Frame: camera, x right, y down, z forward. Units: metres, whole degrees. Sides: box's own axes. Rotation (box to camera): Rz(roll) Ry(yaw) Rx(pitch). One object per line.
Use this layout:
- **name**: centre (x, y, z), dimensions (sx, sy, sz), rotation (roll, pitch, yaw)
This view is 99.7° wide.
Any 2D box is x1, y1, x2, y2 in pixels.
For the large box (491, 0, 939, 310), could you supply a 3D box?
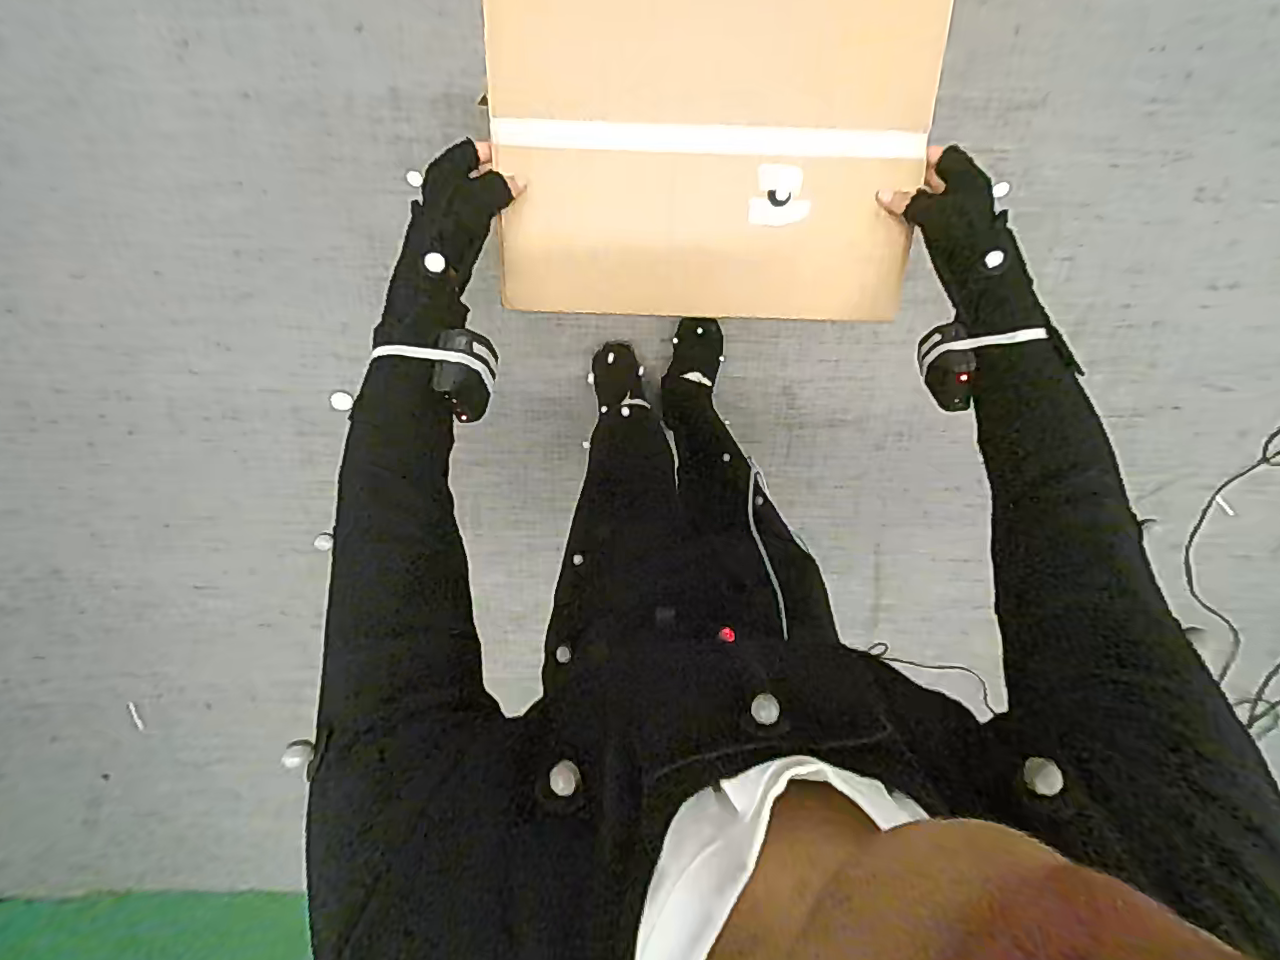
- **large box**: centre (0.060, -0.376, 0.651), dimensions (0.408, 0.320, 0.320), rotation (1, 111, -2)
